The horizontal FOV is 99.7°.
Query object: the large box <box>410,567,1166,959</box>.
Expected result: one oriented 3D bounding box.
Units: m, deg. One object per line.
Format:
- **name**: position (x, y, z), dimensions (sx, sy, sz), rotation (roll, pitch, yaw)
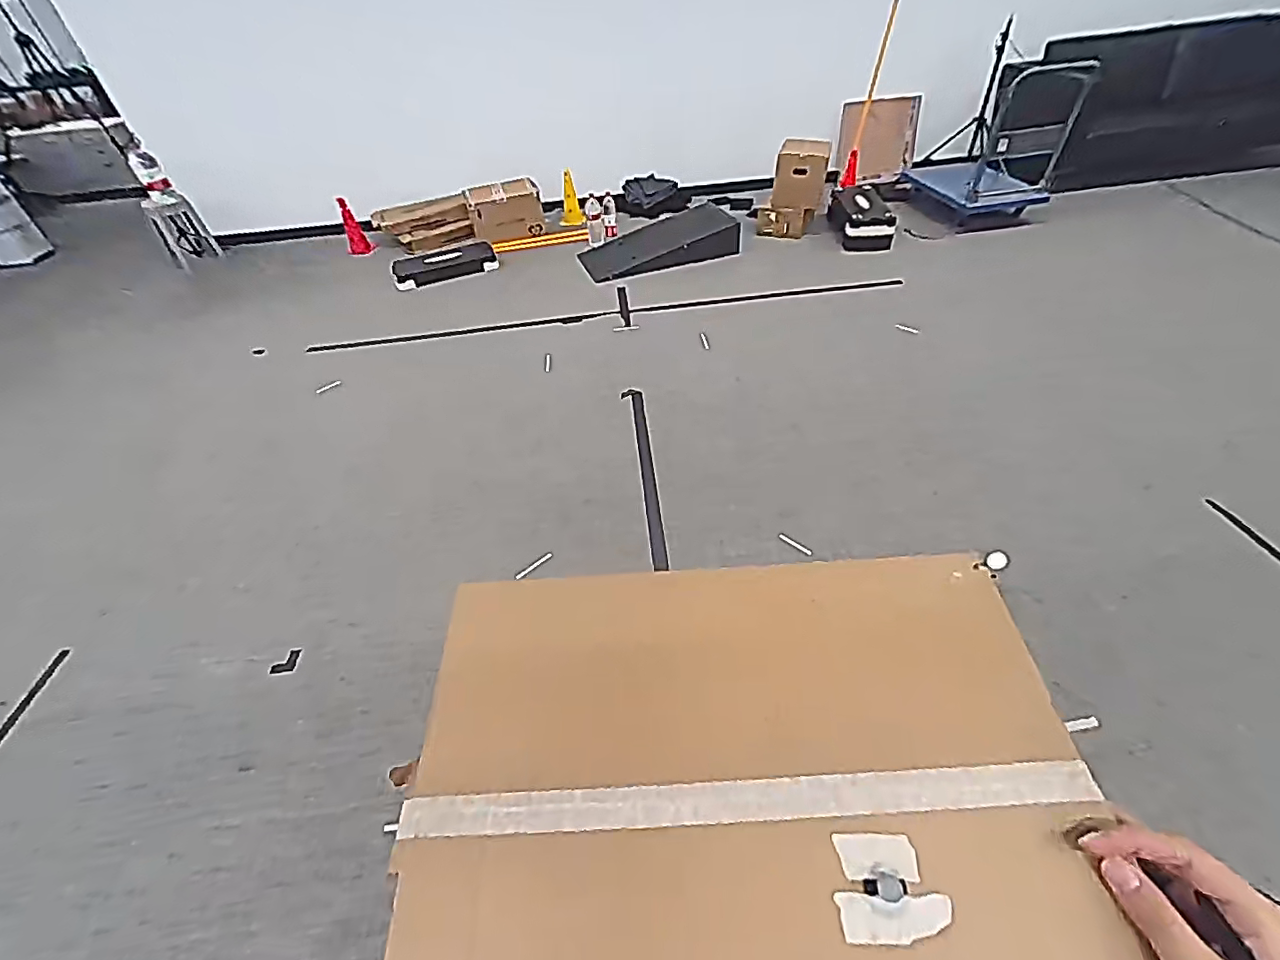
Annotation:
- **large box**: position (0.075, 0.294, 0.443), dimensions (0.408, 0.320, 0.320), rotation (-4, 52, 1)
